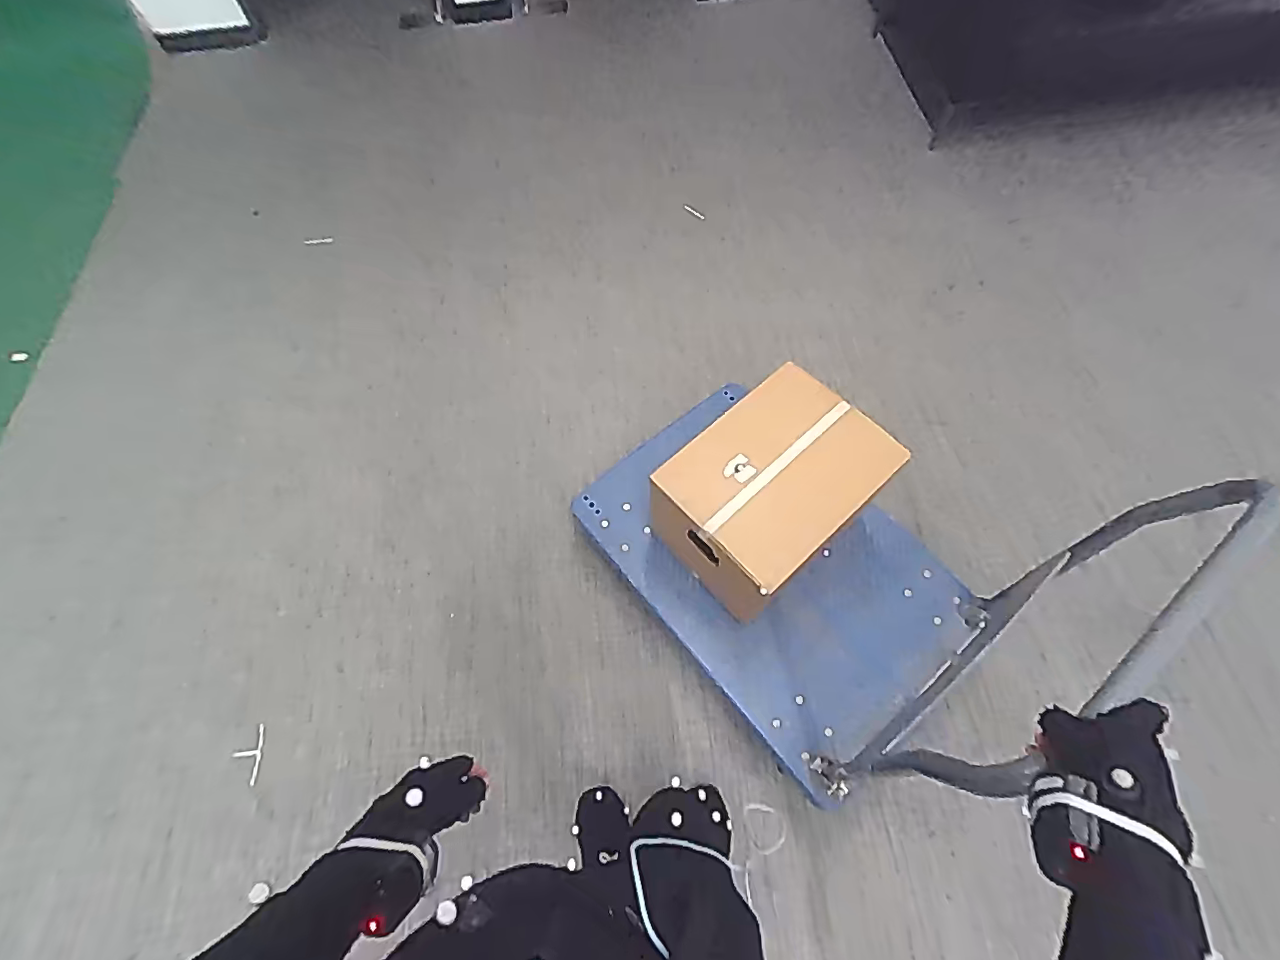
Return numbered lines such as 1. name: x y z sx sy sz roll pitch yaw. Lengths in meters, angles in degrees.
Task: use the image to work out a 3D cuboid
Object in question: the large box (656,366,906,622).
1. large box: 0.281 0.040 1.183 0.408 0.320 0.320 -40 69 -15
